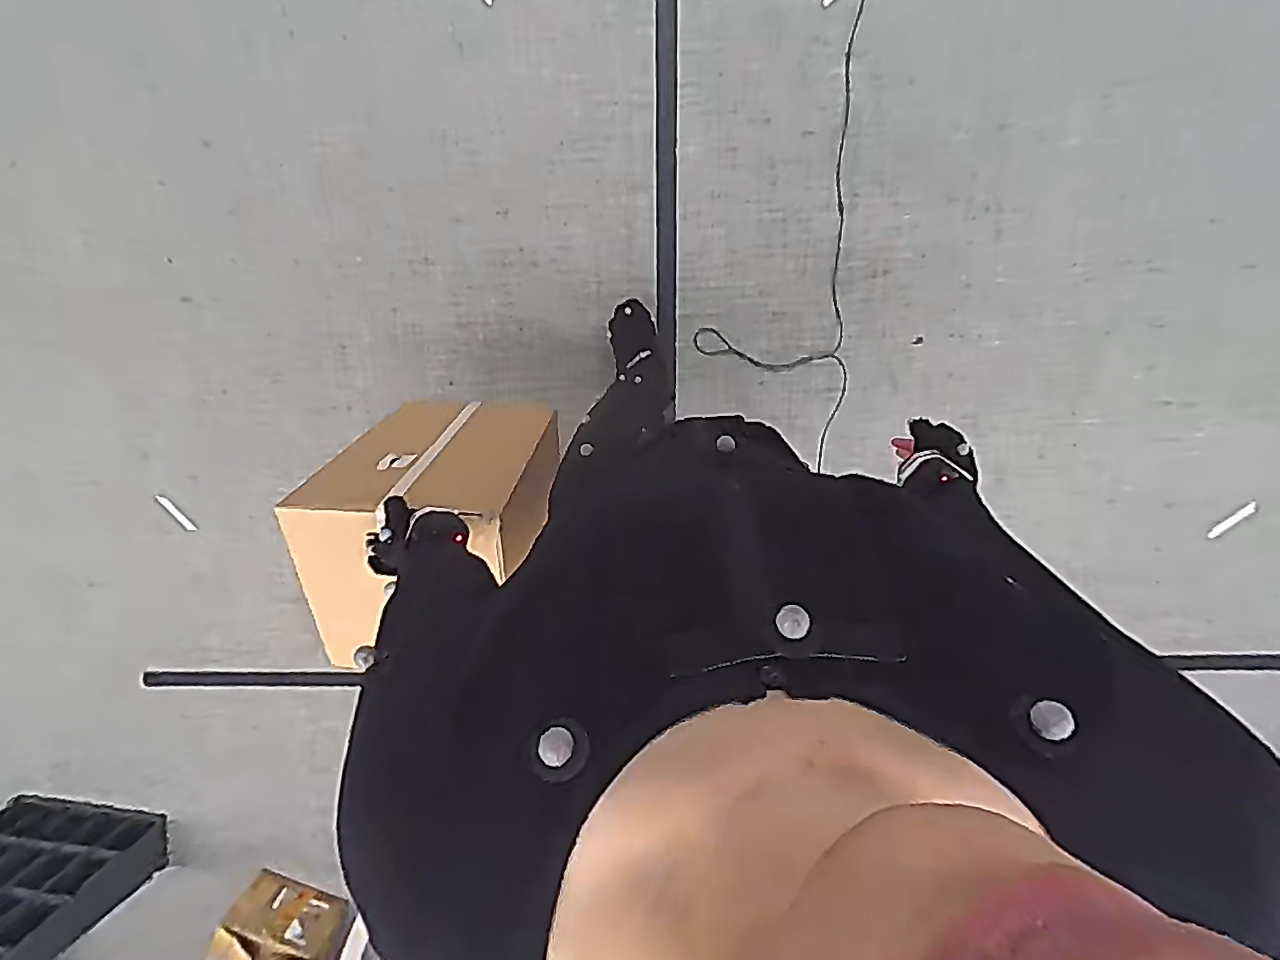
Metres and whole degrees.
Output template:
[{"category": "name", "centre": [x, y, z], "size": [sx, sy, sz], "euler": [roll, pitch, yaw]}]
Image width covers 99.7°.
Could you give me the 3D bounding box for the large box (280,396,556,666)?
[{"category": "large box", "centre": [-0.342, 0.069, 0.984], "size": [0.320, 0.408, 0.320], "euler": [2, 121, 3]}]
